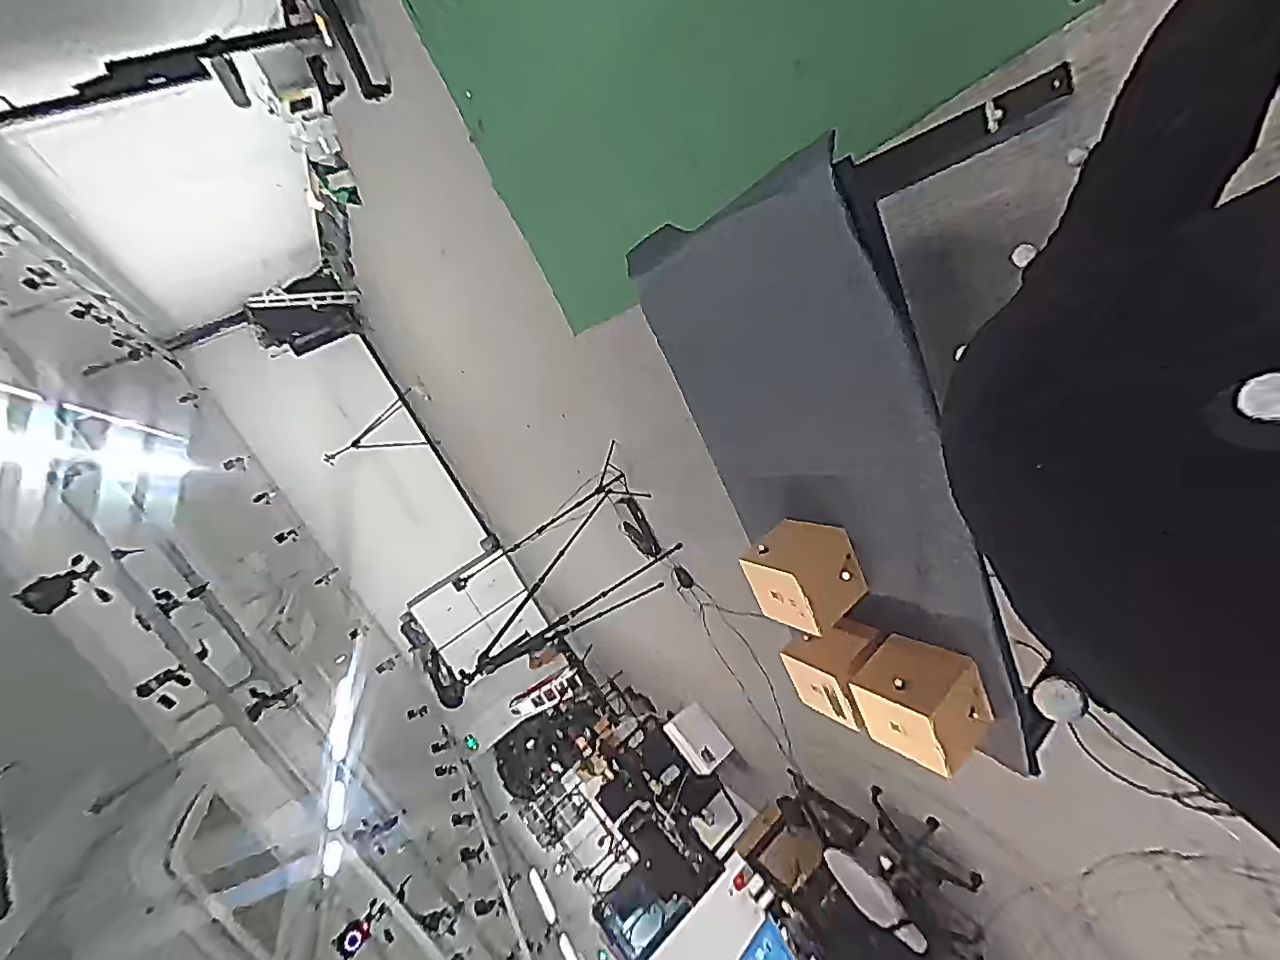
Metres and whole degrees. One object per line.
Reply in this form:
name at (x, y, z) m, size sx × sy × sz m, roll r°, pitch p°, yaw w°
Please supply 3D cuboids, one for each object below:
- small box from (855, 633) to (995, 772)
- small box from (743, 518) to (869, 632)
small box at (0.581, 0.439, 1.105) m, size 0.179 × 0.176 × 0.168 m, roll 5°, pitch 126°, yaw 59°
small box at (0.367, 0.199, 1.197) m, size 0.179 × 0.176 × 0.168 m, roll 5°, pitch 126°, yaw 60°
